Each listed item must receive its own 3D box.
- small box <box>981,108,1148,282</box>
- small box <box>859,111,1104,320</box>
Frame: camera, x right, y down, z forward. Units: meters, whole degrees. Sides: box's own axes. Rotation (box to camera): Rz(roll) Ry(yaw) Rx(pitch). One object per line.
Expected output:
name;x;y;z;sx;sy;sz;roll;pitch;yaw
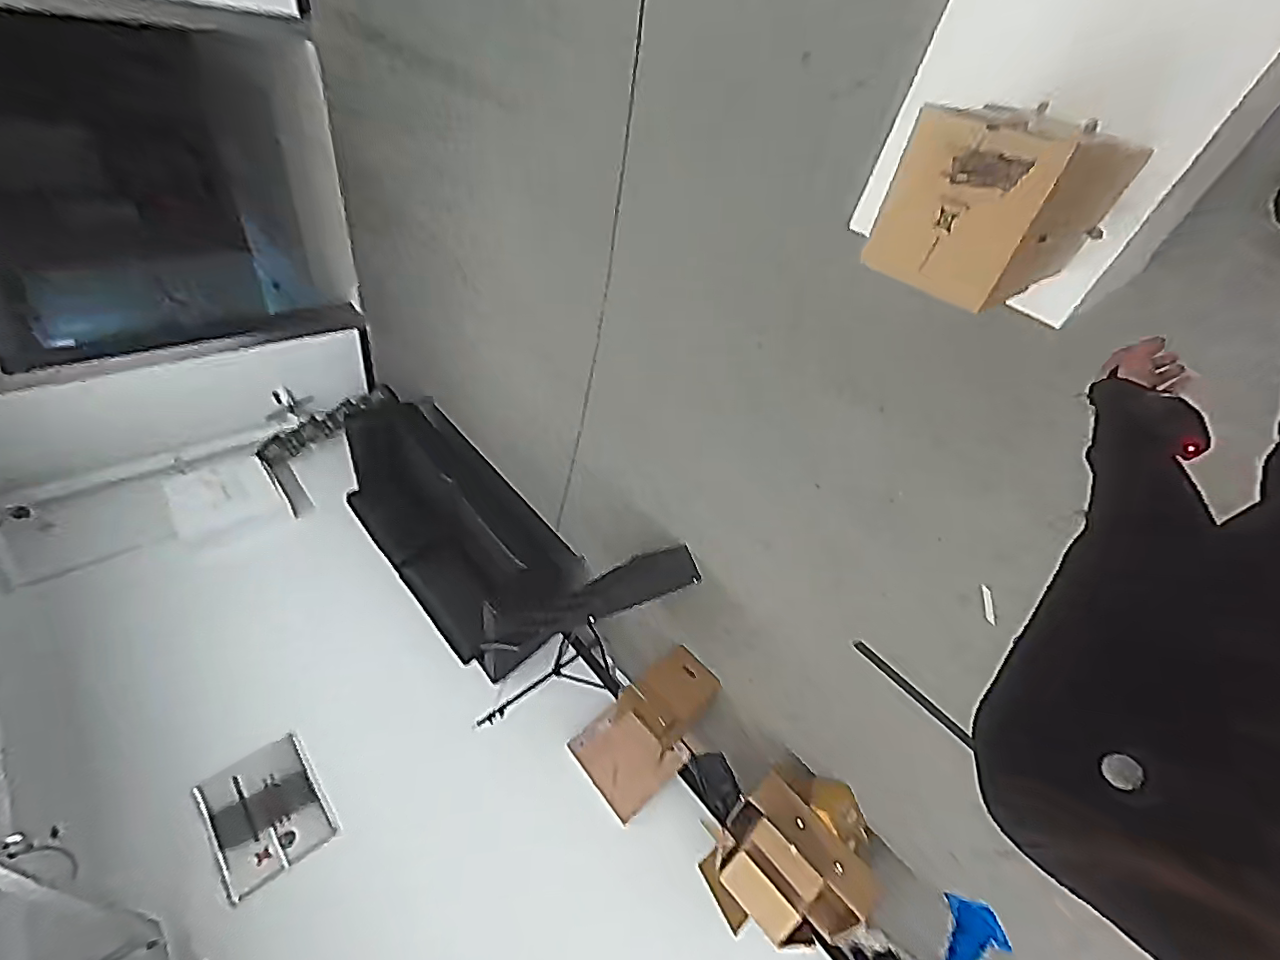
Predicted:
small box;0.530;-0.383;0.741;0.179;0.176;0.168;45;140;27
small box;0.407;-0.322;0.651;0.168;0.176;0.179;42;140;30
